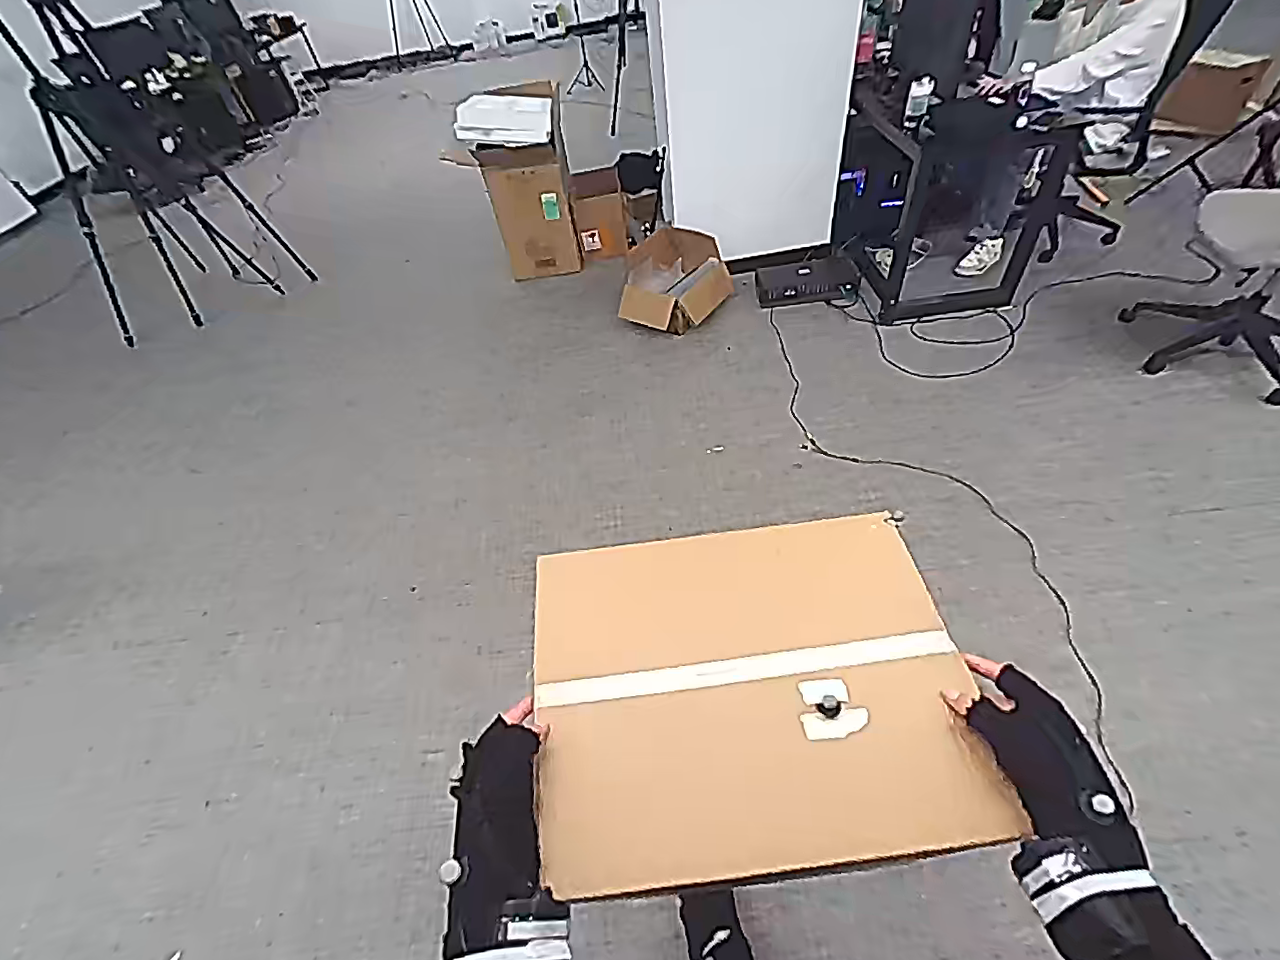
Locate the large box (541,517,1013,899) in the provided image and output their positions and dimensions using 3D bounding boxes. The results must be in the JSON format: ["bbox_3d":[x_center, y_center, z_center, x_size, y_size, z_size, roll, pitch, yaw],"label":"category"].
[{"bbox_3d":[0.108,0.280,0.651,0.408,0.320,0.320,-7,51,0],"label":"large box"}]
